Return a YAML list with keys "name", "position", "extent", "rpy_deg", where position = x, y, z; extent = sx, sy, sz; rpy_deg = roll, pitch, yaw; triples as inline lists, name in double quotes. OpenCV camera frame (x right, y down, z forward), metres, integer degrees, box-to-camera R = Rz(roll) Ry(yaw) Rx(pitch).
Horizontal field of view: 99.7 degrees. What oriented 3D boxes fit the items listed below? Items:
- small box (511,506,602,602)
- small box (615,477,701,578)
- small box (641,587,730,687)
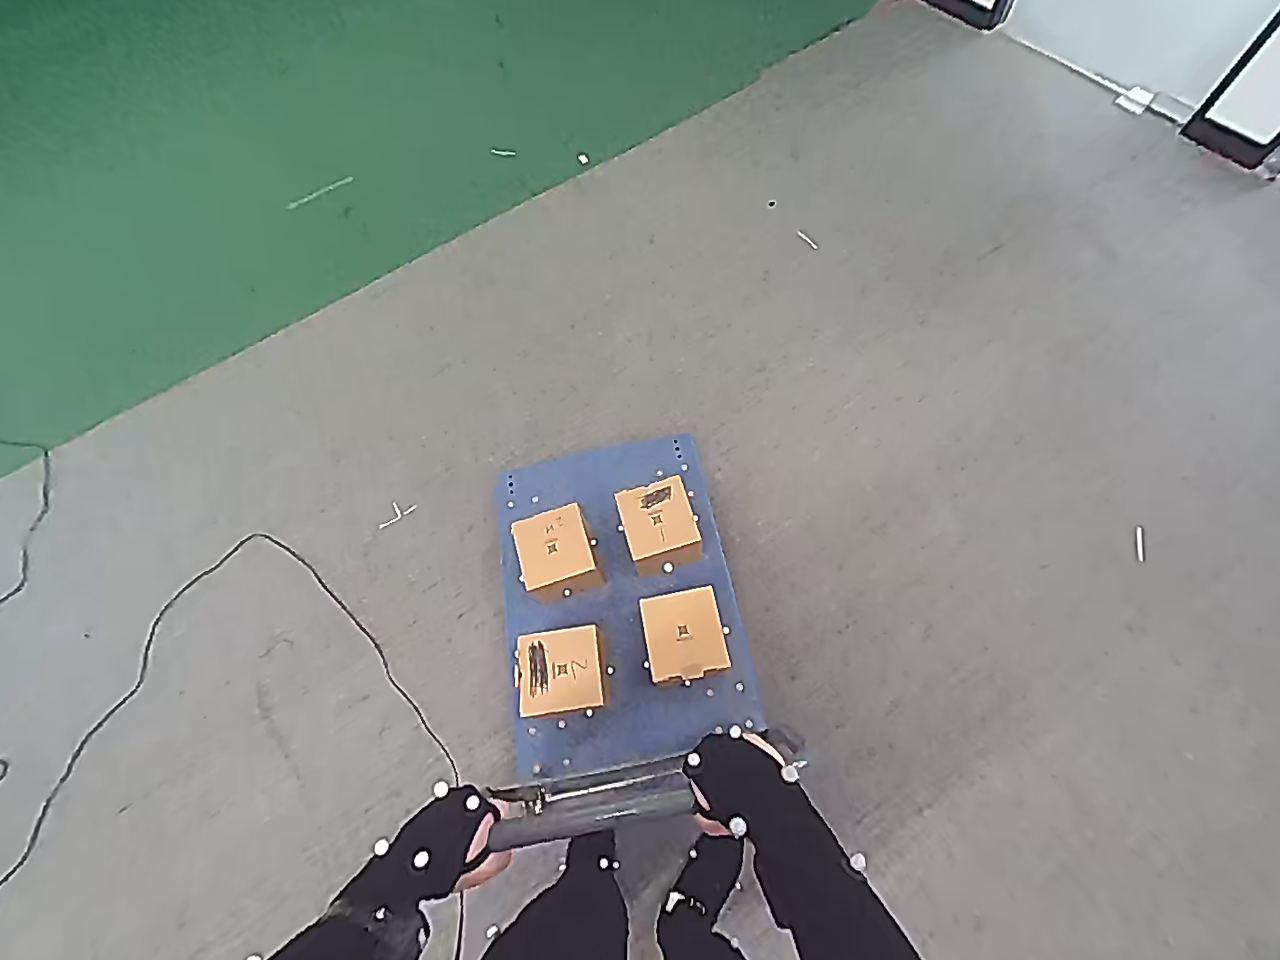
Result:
- name: "small box"
  position: [-0.199, 0.190, 1.329]
  extent: [0.168, 0.176, 0.179]
  rpy_deg: [-18, 65, -4]
- name: "small box"
  position: [0.044, 0.122, 1.339]
  extent: [0.168, 0.176, 0.179]
  rpy_deg: [-17, 66, -2]
- name: "small box"
  position: [0.097, 0.361, 1.228]
  extent: [0.168, 0.176, 0.179]
  rpy_deg: [-11, 66, -1]
